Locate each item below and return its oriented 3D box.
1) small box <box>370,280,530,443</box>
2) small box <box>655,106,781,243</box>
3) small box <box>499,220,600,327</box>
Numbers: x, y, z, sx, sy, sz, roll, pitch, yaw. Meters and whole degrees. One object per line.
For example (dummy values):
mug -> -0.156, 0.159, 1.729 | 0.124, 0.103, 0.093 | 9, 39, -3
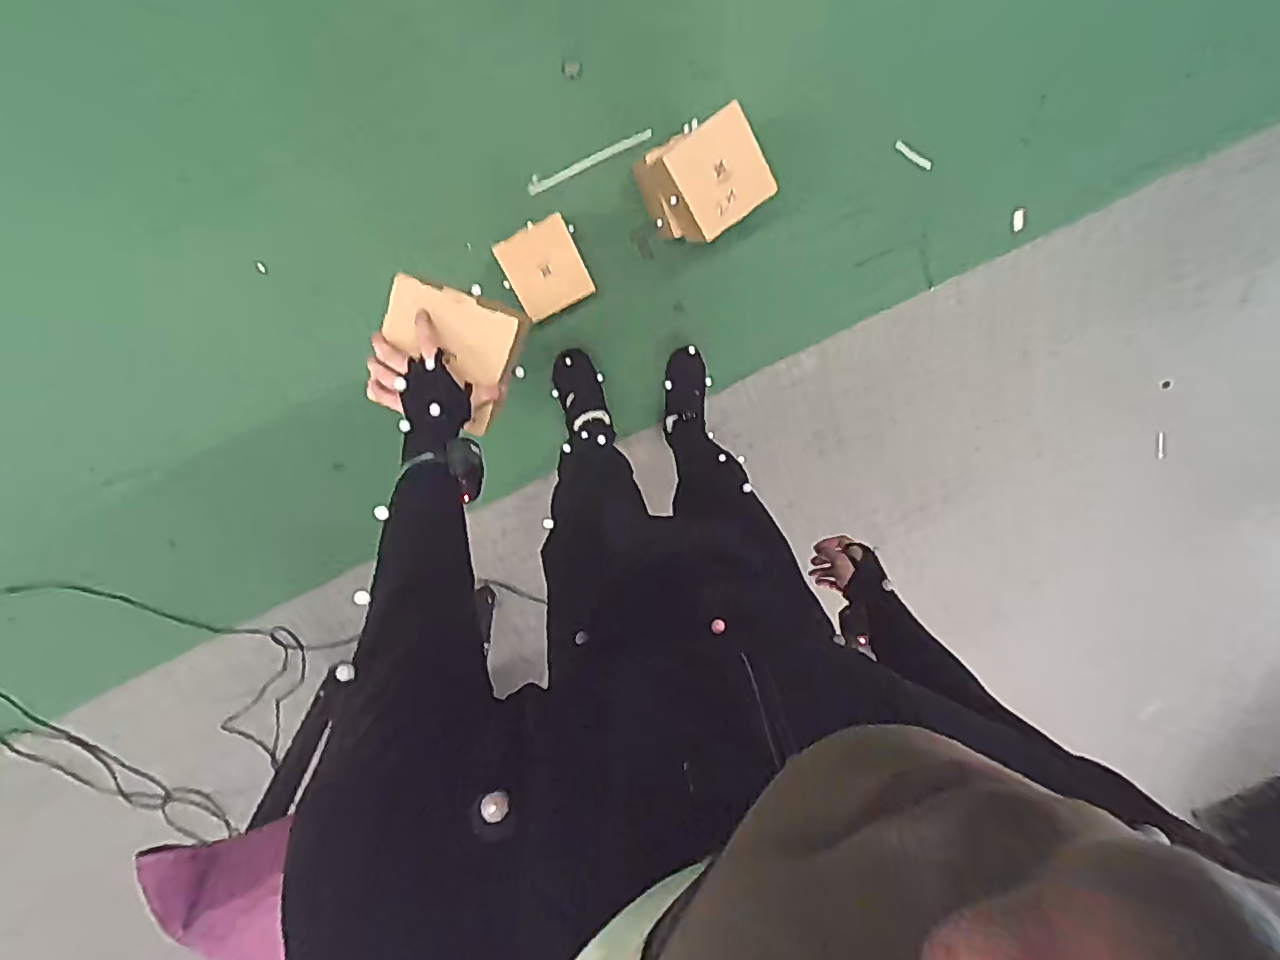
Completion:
small box -> -0.271, -0.179, 0.811 | 0.168, 0.176, 0.179 | 19, 104, -9
small box -> 0.148, -0.598, 1.085 | 0.168, 0.176, 0.179 | -34, 115, 7
small box -> -0.205, -0.482, 1.261 | 0.168, 0.176, 0.179 | -27, 113, 3
